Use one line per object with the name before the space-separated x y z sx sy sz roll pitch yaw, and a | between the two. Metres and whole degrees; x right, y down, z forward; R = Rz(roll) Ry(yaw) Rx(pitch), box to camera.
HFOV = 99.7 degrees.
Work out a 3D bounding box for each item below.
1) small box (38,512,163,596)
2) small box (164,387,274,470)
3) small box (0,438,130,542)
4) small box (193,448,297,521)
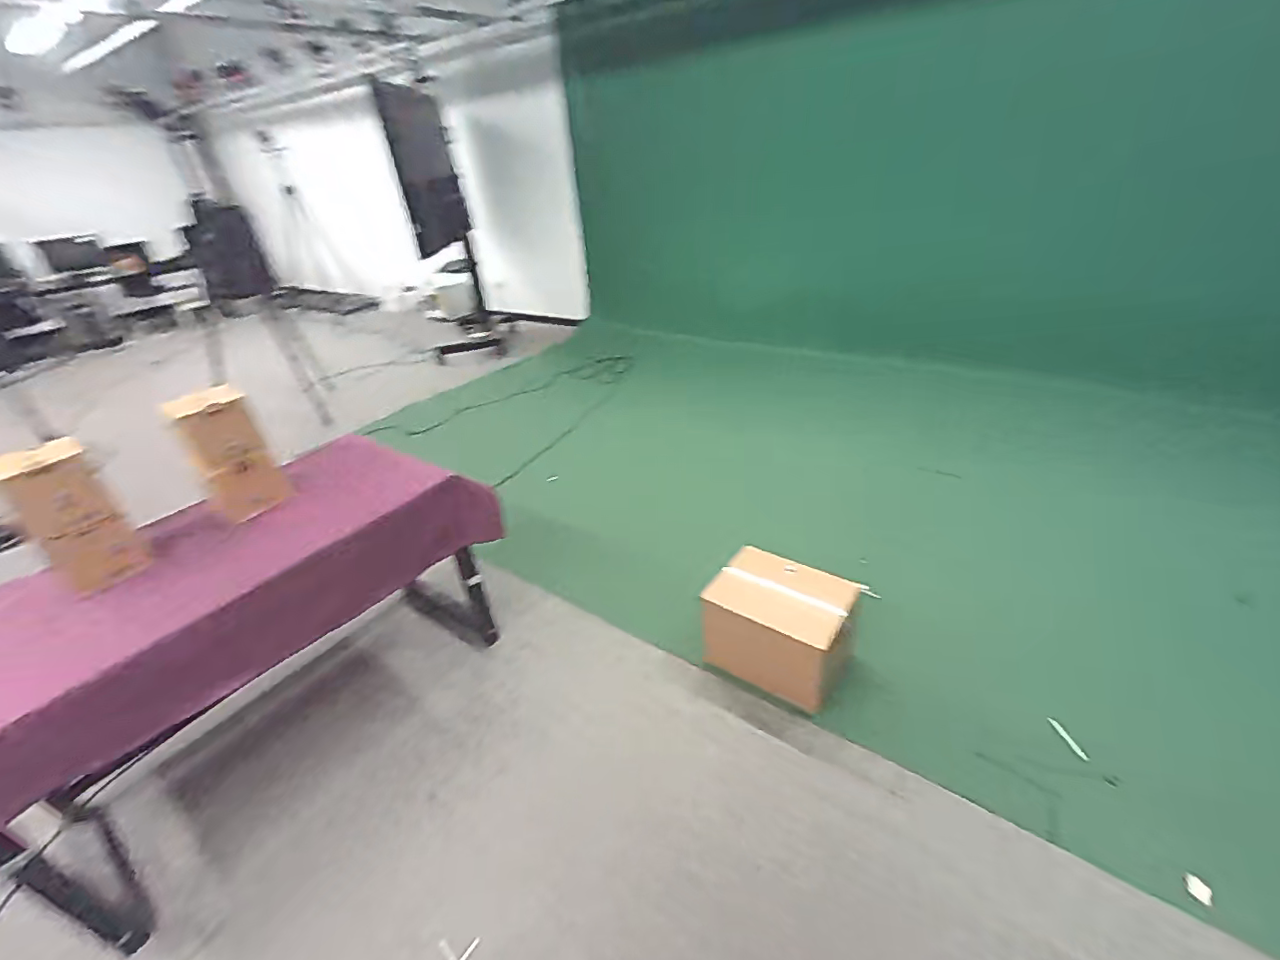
small box | -1.364 0.167 1.370 0.179 0.176 0.168 17 38 33
small box | -1.182 -0.145 1.525 0.179 0.176 0.168 19 40 33
small box | -1.373 0.025 1.286 0.179 0.176 0.168 18 38 33
small box | -1.166 -0.001 1.604 0.179 0.176 0.168 17 38 31
